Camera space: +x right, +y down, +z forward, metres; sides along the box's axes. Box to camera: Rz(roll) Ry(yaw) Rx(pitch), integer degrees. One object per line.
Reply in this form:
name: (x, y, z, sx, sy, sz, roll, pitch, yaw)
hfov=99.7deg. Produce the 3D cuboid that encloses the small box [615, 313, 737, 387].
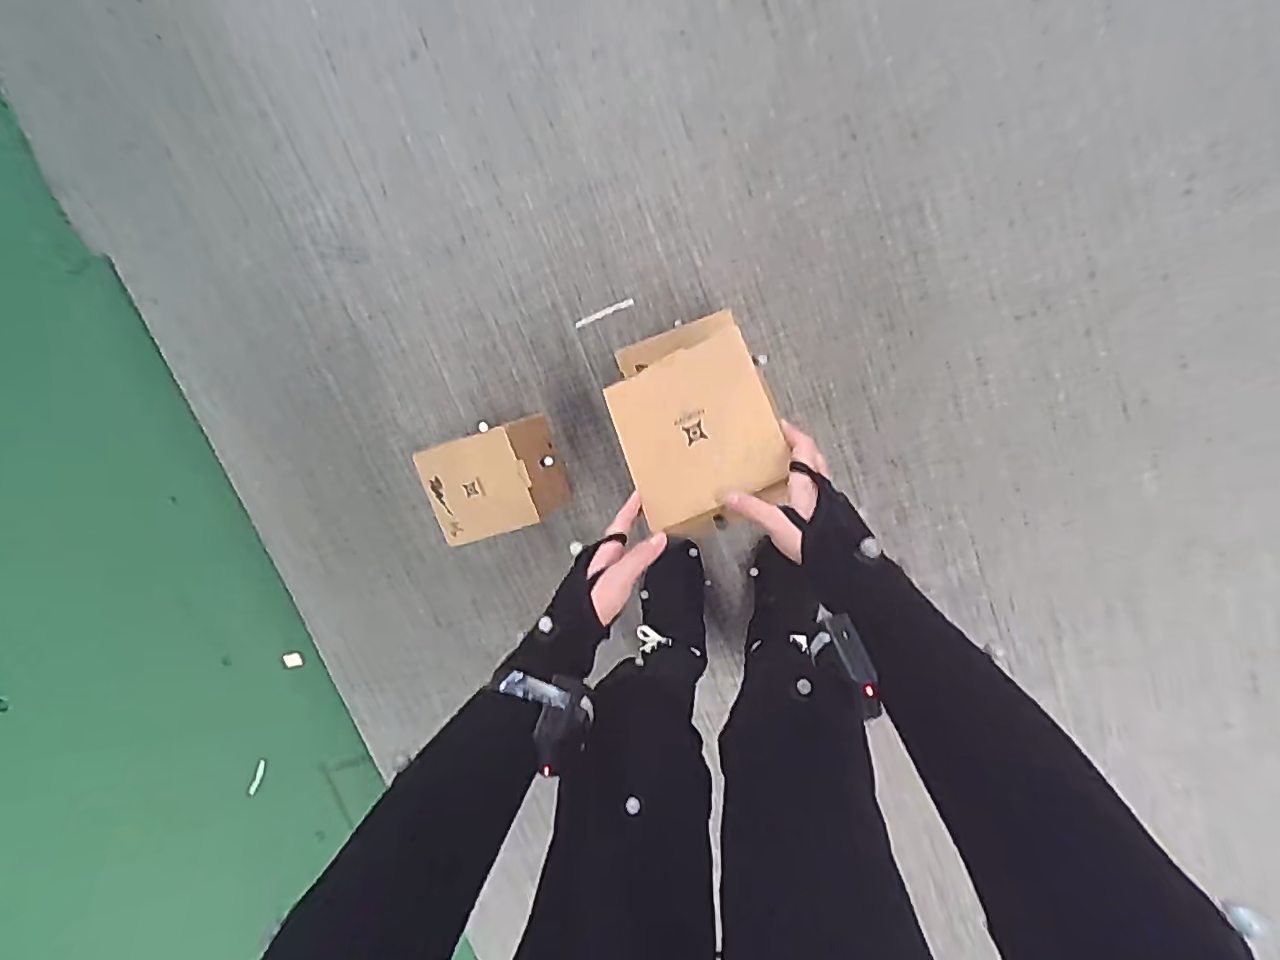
small box: (0.083, -0.147, 0.850, 0.179, 0.176, 0.168, -18, 99, 13)

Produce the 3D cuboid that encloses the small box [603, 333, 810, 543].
small box: (0.085, -0.033, 0.633, 0.168, 0.176, 0.179, -25, 71, 16)

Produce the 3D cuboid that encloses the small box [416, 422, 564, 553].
small box: (-0.246, 0.004, 0.944, 0.179, 0.176, 0.168, -17, 99, 12)
